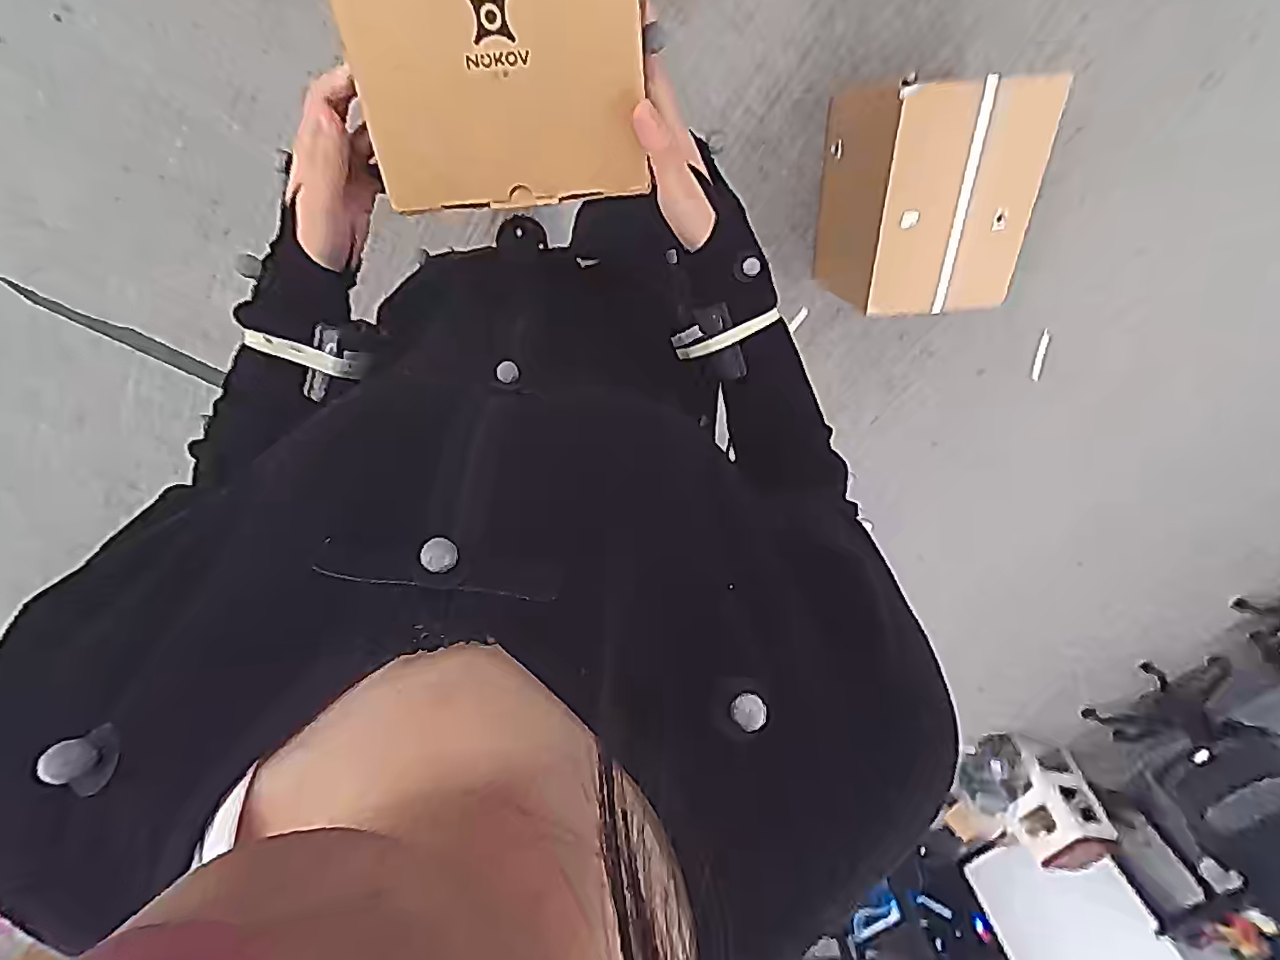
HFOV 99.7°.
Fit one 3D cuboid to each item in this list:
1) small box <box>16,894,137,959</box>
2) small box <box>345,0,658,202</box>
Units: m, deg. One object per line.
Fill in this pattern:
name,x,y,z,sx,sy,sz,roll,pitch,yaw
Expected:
small box,-1.333,1.107,1.261,0.168,0.176,0.179,28,115,-24
small box,-0.081,-0.299,0.360,0.168,0.176,0.179,-6,126,0
